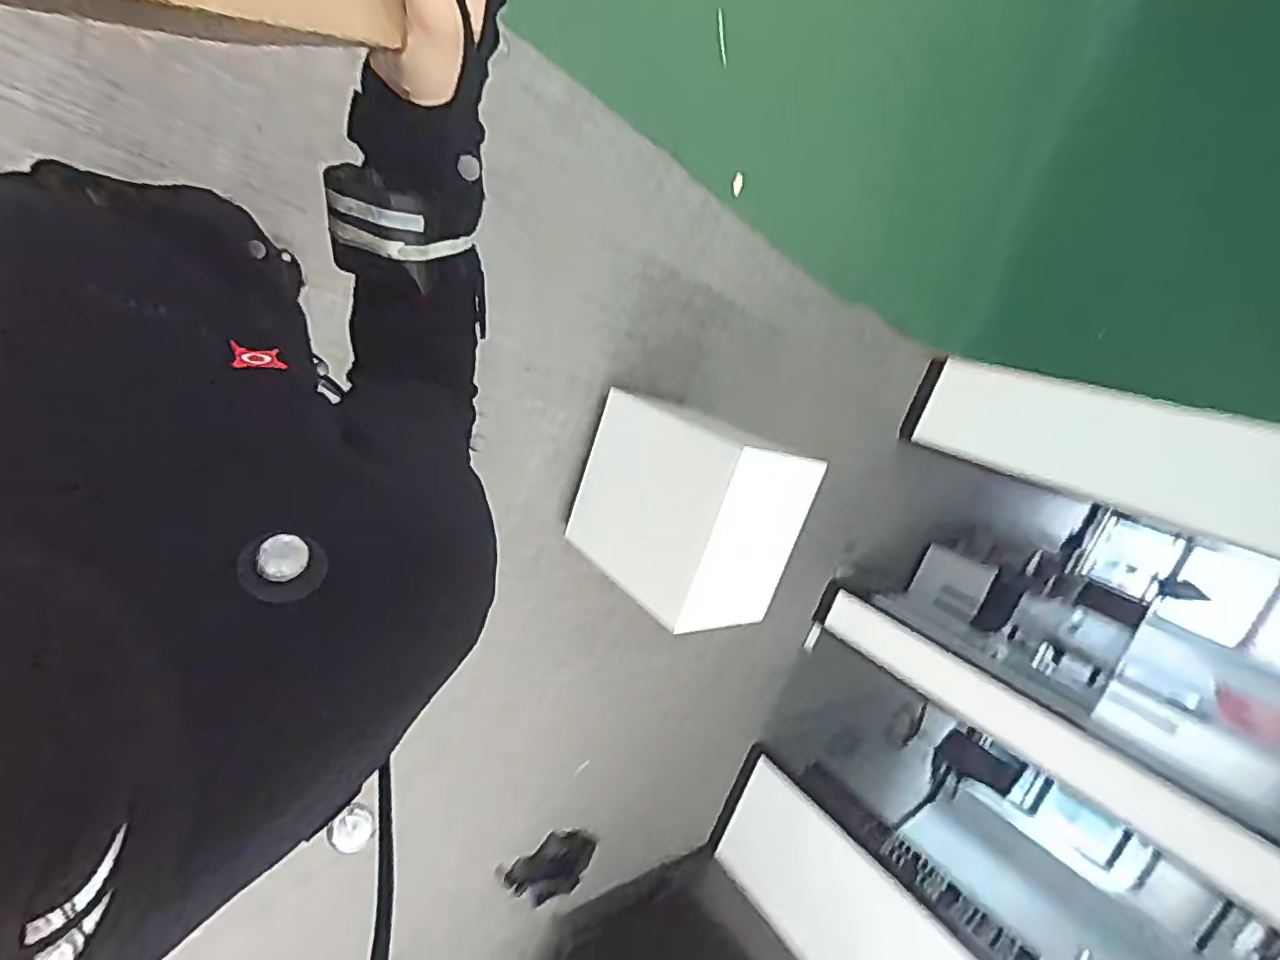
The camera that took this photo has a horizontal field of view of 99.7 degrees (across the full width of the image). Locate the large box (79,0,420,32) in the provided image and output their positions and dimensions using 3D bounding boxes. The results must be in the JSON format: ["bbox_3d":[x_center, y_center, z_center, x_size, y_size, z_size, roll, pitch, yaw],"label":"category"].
[{"bbox_3d":[-0.338,-0.365,0.156,0.408,0.320,0.320,-21,134,-38],"label":"large box"}]
